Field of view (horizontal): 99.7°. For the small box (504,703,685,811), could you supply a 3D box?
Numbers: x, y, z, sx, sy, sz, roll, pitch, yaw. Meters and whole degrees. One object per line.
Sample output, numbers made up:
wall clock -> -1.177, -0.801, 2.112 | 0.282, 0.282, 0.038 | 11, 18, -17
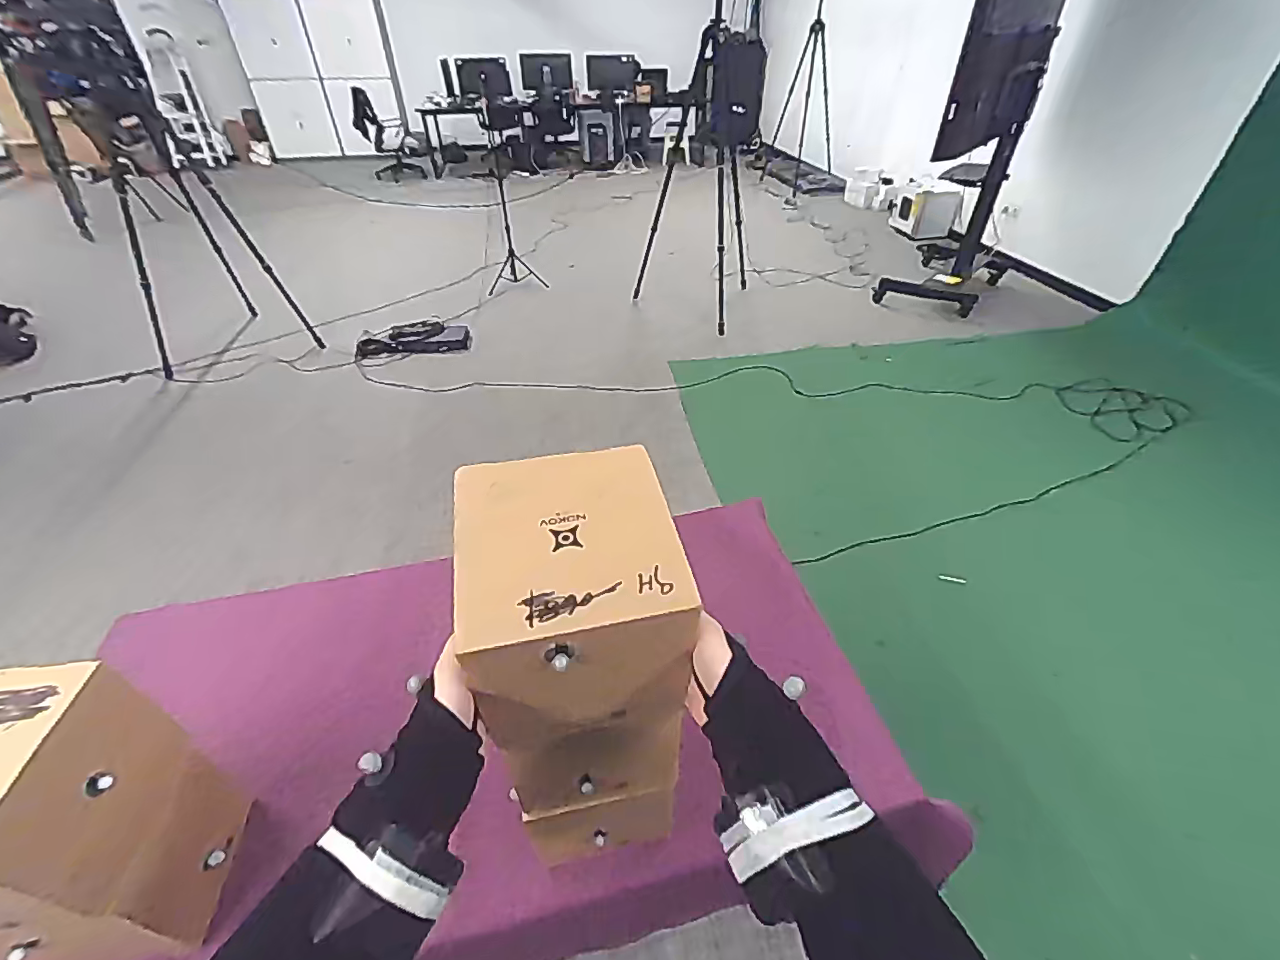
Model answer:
small box -> -0.055, 0.226, 0.593 | 0.168, 0.176, 0.179 | -8, 42, -9

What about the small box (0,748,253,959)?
small box -> -0.592, 0.434, 0.609 | 0.179, 0.176, 0.168 | -6, 41, -8

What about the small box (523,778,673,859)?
small box -> -0.057, 0.355, 0.693 | 0.168, 0.176, 0.179 | -8, 41, -9

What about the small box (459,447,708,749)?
small box -> -0.054, 0.097, 0.463 | 0.168, 0.176, 0.179 | -8, 46, -11
